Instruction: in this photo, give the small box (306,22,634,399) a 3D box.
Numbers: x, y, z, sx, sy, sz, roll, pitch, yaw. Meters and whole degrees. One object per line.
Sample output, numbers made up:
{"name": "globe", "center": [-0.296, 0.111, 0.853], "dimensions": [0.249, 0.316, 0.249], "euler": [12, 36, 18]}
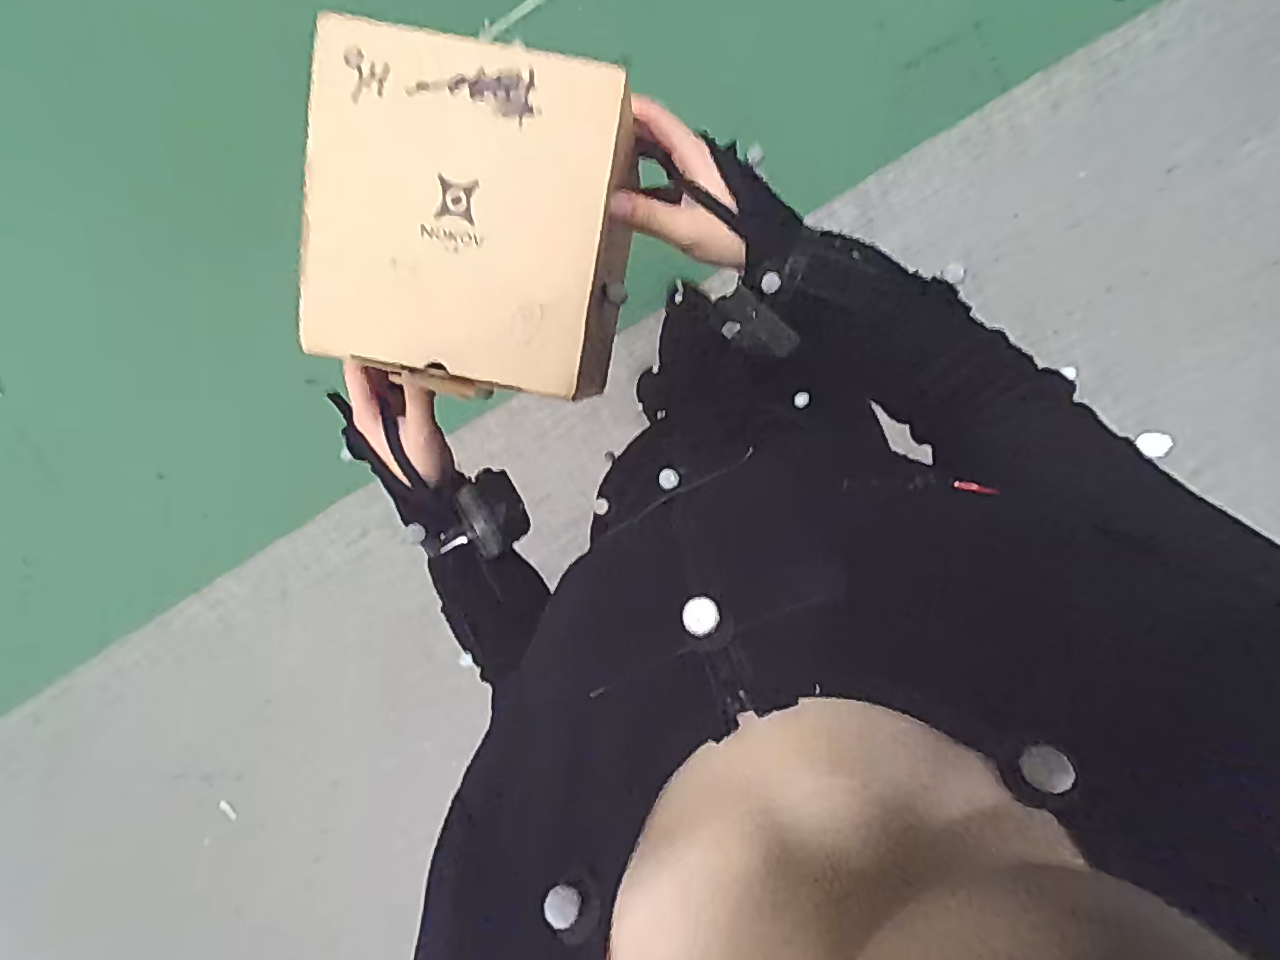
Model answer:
{"name": "small box", "center": [-0.100, -0.163, 0.382], "dimensions": [0.168, 0.176, 0.179], "euler": [11, 102, 1]}
